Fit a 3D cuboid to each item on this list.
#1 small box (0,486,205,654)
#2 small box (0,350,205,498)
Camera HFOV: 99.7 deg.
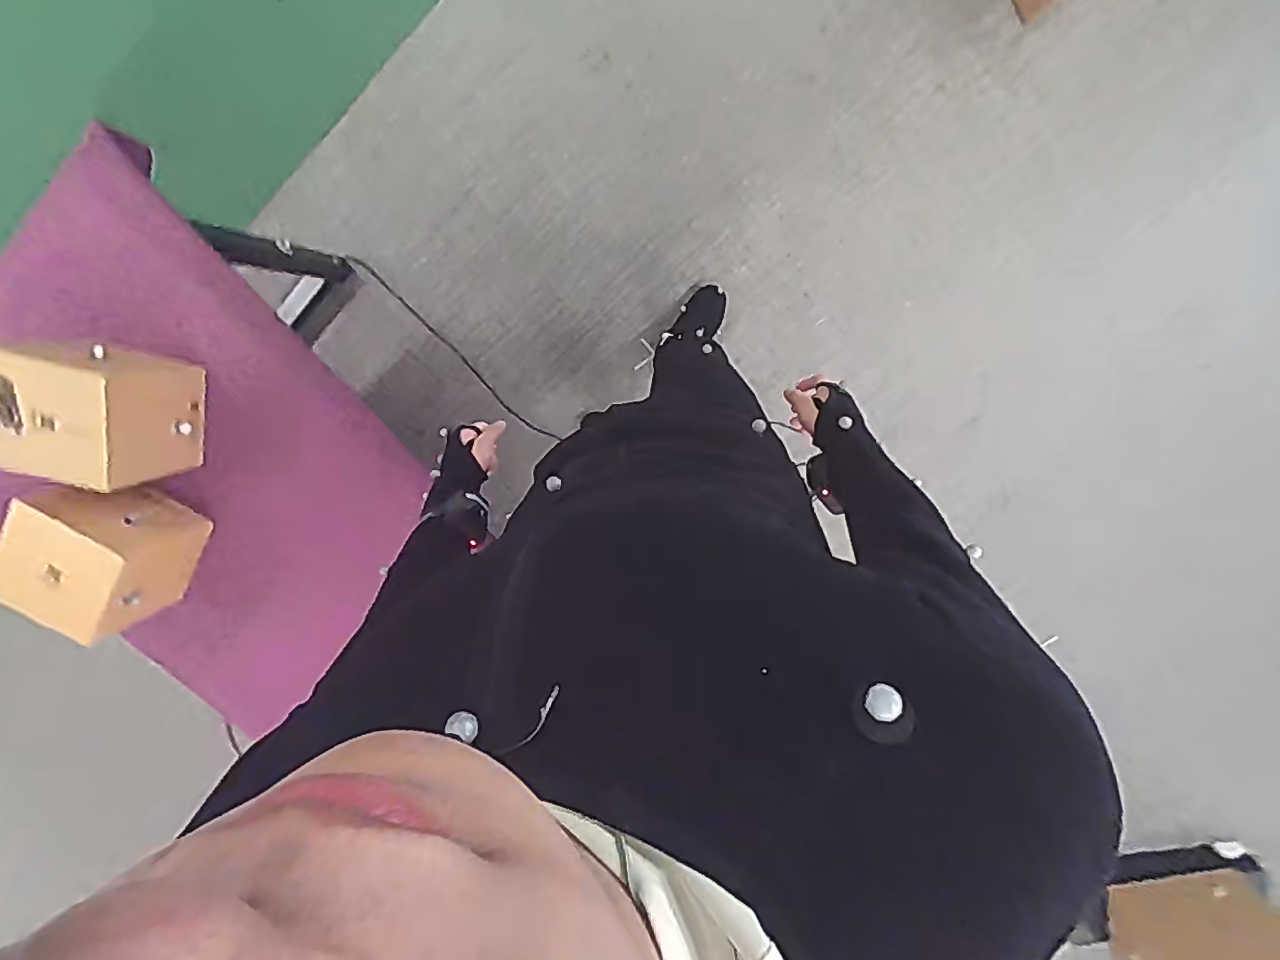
[{"bbox_3d":[-0.845,0.129,0.855,0.168,0.176,0.179,32,104,-7],"label":"small box"},{"bbox_3d":[-0.794,-0.090,0.793,0.179,0.176,0.168,13,105,-3],"label":"small box"}]
